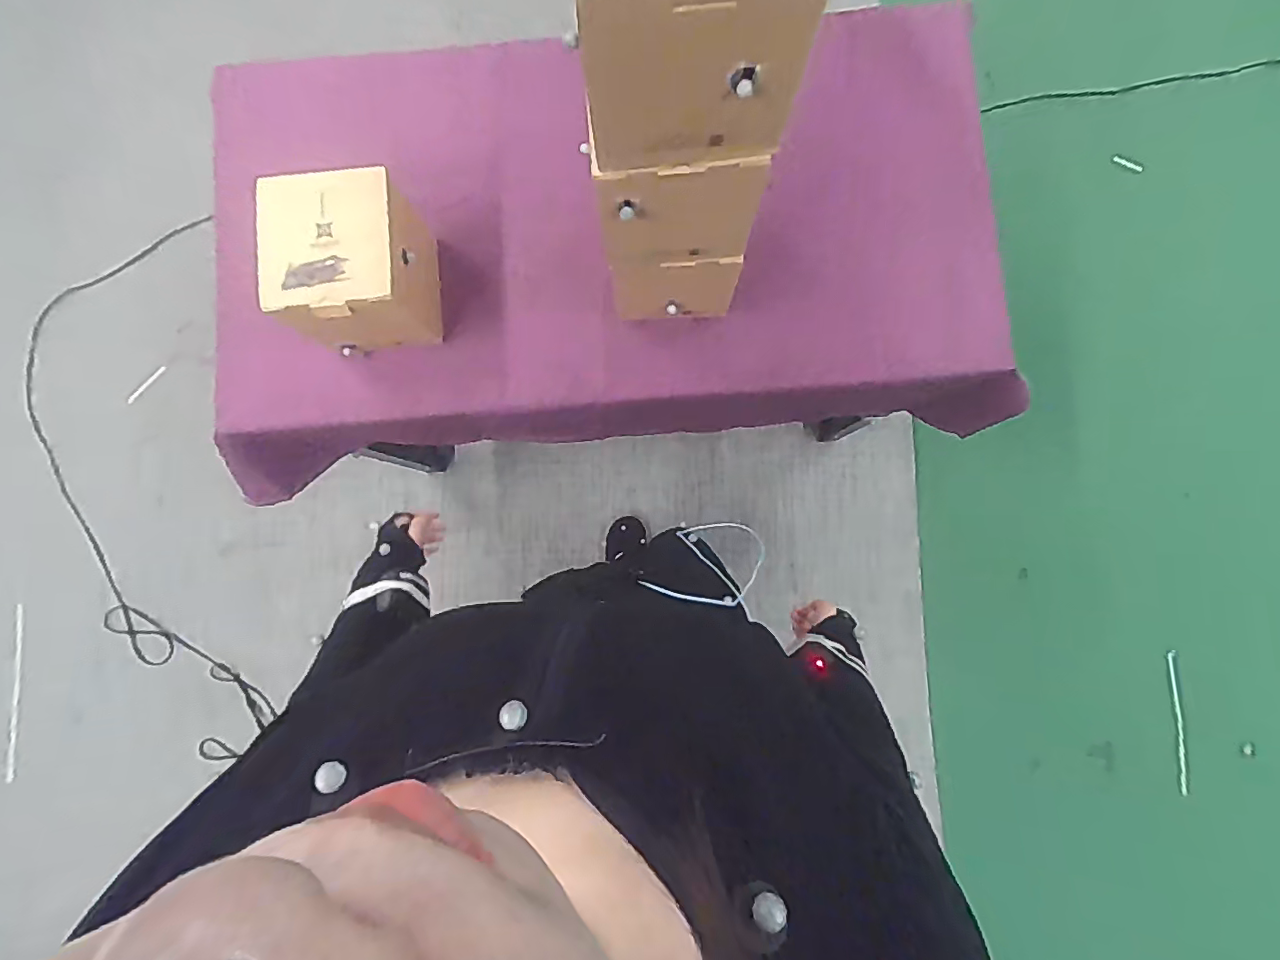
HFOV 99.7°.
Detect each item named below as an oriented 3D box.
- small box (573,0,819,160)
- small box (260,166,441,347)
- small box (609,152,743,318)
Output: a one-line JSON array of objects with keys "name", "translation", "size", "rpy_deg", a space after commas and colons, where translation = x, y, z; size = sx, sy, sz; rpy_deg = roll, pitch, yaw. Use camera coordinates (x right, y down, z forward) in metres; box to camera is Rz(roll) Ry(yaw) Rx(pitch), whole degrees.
[{"name": "small box", "translation": [0.036, -0.379, 0.420], "size": [0.168, 0.176, 0.179], "rpy_deg": [-5, 84, 0]}, {"name": "small box", "translation": [-0.387, -0.294, 0.750], "size": [0.168, 0.176, 0.179], "rpy_deg": [-5, 84, 0]}, {"name": "small box", "translation": [0.044, -0.340, 0.746], "size": [0.168, 0.176, 0.179], "rpy_deg": [-2, 85, 1]}]
